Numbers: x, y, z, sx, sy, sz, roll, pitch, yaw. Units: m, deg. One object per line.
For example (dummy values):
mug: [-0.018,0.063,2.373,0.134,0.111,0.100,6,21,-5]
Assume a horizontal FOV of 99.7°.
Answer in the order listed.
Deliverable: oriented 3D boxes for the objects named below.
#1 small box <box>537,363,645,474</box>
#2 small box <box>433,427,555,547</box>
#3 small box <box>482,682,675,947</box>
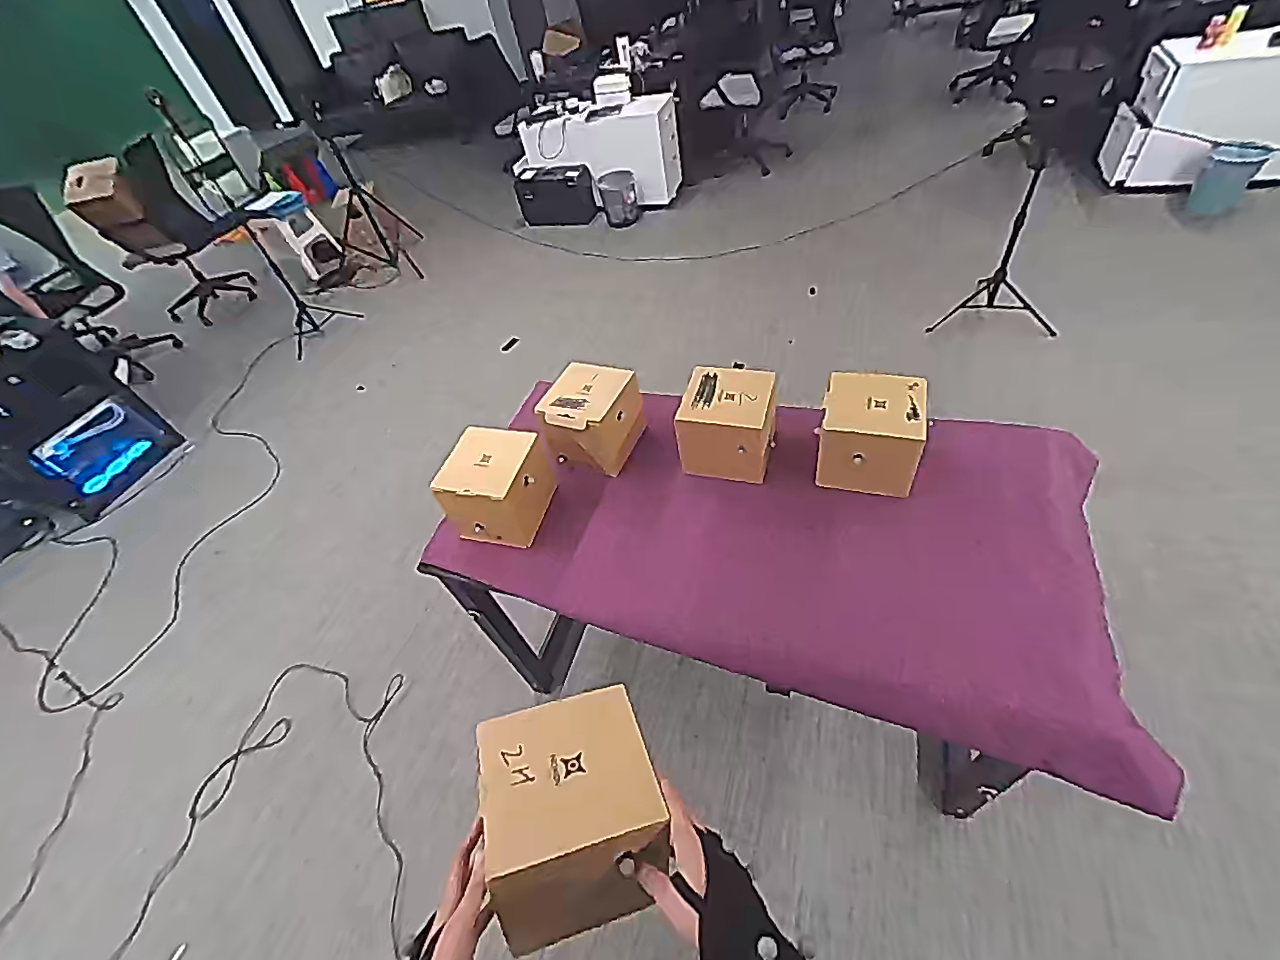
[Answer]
small box: [-0.100,-0.137,1.223,0.168,0.176,0.179,14,54,22]
small box: [-0.291,0.014,1.128,0.168,0.176,0.179,7,51,15]
small box: [-0.070,0.363,0.599,0.179,0.176,0.168,-10,32,-14]
